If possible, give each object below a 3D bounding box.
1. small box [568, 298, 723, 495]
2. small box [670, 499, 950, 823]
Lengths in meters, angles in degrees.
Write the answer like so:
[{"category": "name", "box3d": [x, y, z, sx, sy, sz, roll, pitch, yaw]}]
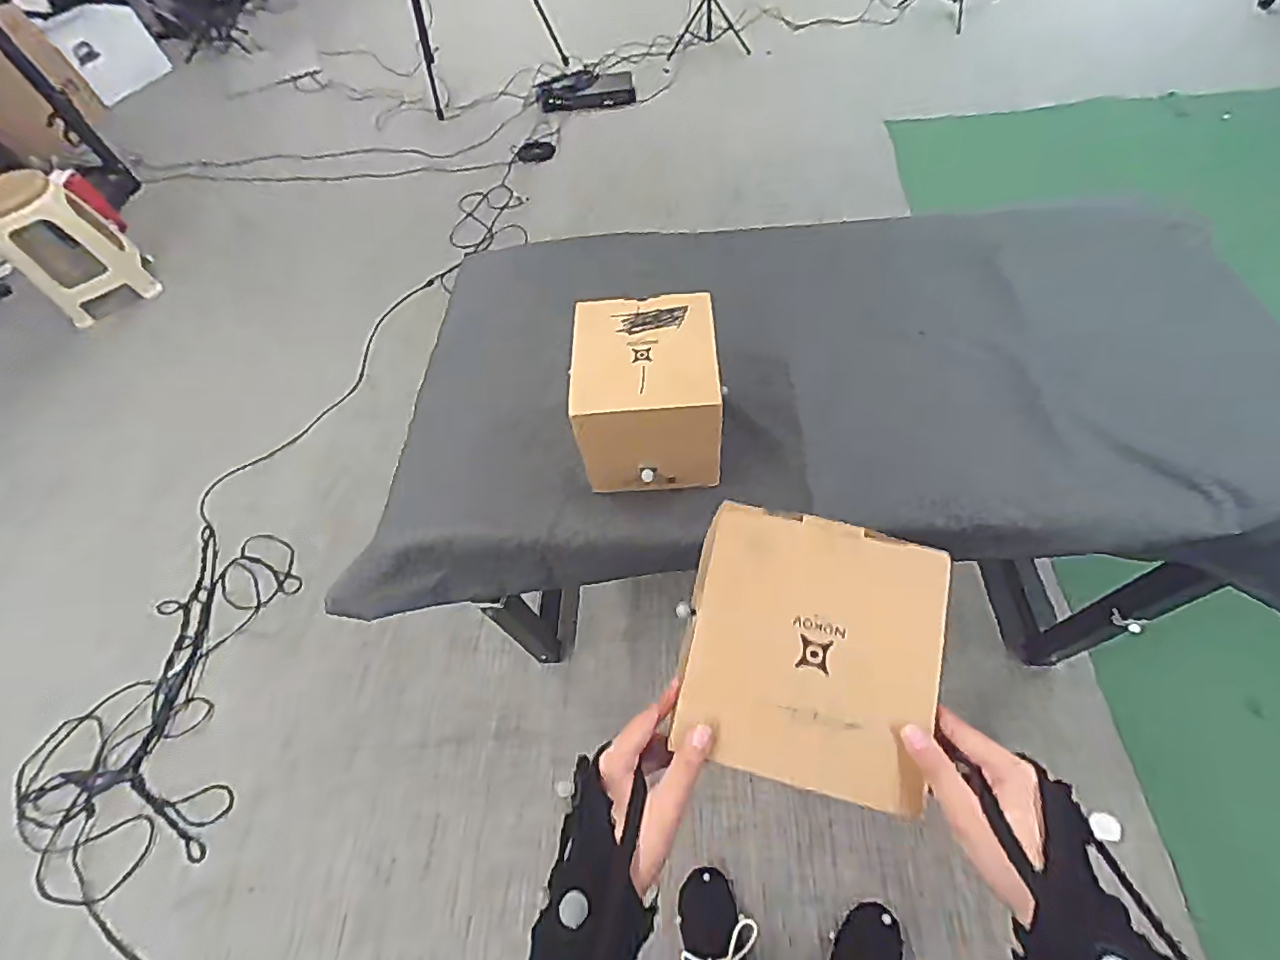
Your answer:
[{"category": "small box", "box3d": [0.012, -0.099, 0.676, 0.168, 0.176, 0.179, -4, 58, 5]}, {"category": "small box", "box3d": [0.120, 0.133, 0.436, 0.168, 0.176, 0.179, 12, 75, 7]}]
